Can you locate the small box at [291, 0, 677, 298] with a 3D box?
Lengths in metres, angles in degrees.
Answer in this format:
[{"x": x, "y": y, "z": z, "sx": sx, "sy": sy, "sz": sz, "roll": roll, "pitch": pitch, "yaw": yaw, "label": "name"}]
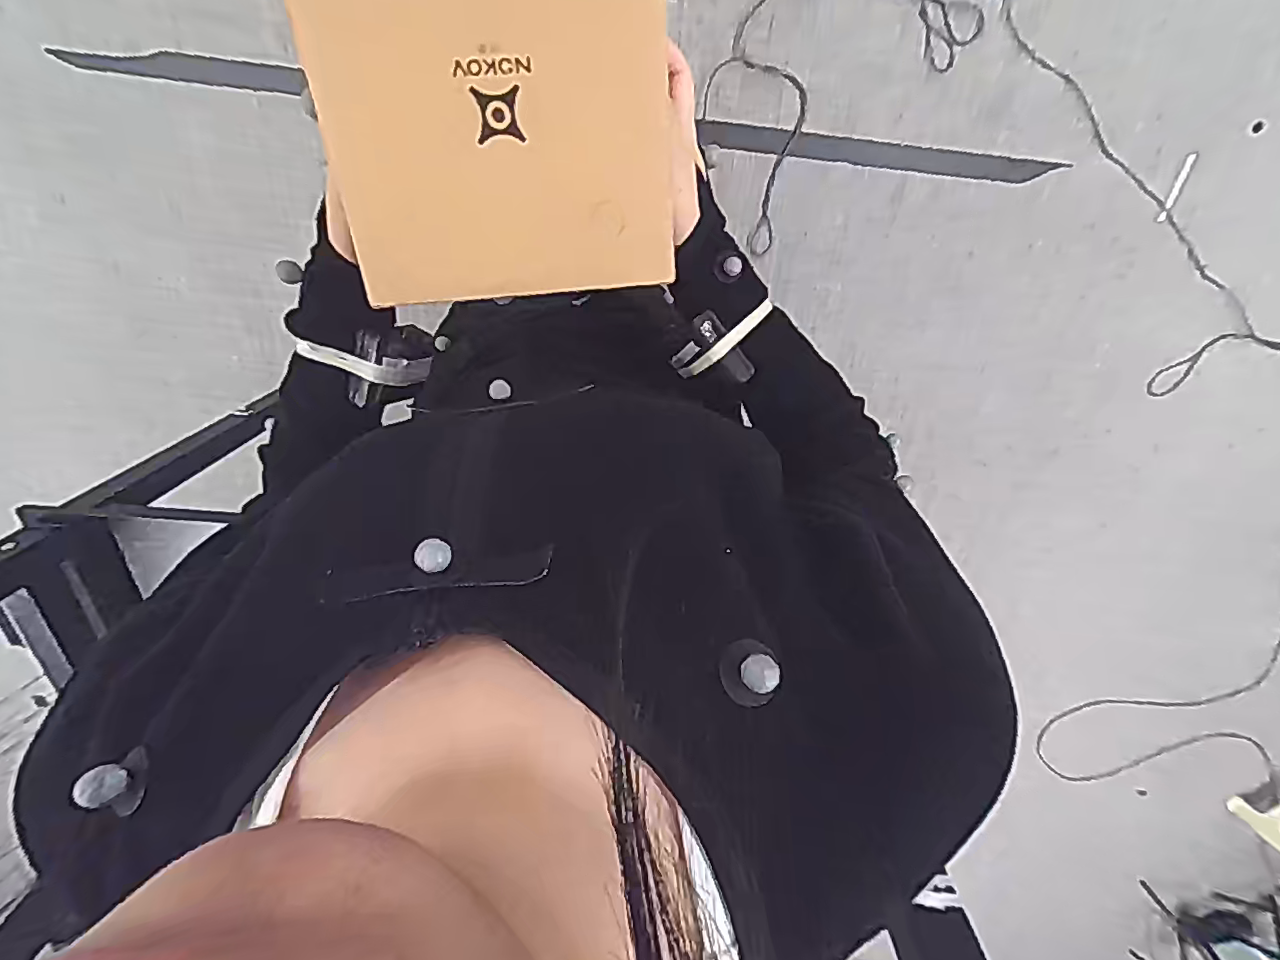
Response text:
[{"x": -0.072, "y": -0.216, "z": 0.318, "sx": 0.168, "sy": 0.176, "sz": 0.179, "roll": -6, "pitch": 118, "yaw": -5, "label": "small box"}]
